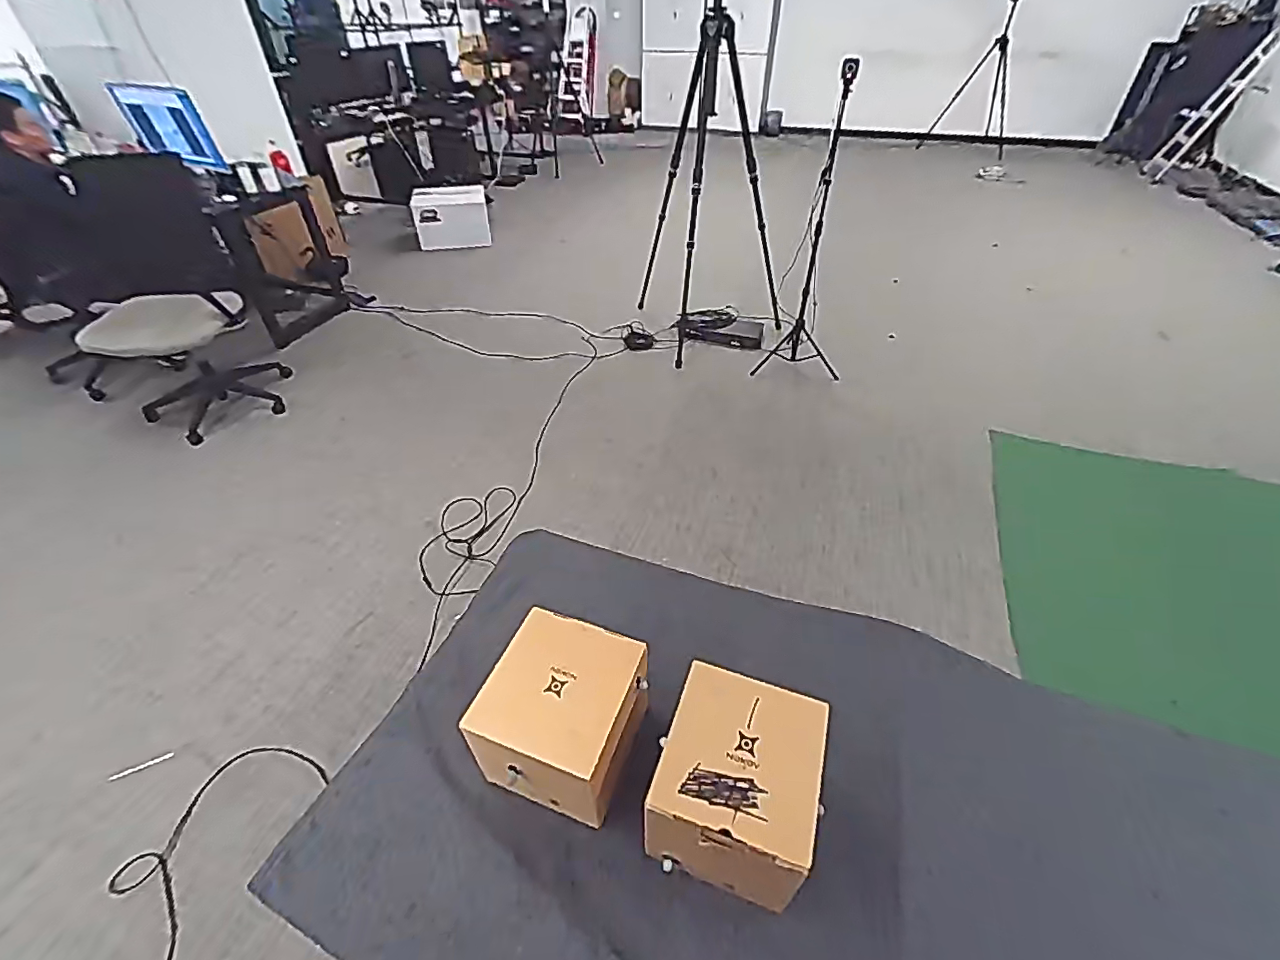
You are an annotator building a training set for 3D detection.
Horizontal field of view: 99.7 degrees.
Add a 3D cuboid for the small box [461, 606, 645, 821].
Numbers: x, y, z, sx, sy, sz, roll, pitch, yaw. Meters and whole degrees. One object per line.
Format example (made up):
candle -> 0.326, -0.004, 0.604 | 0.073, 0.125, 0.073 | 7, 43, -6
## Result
small box -> -0.095, 0.300, 0.697 | 0.168, 0.176, 0.179 | 14, 43, 16
